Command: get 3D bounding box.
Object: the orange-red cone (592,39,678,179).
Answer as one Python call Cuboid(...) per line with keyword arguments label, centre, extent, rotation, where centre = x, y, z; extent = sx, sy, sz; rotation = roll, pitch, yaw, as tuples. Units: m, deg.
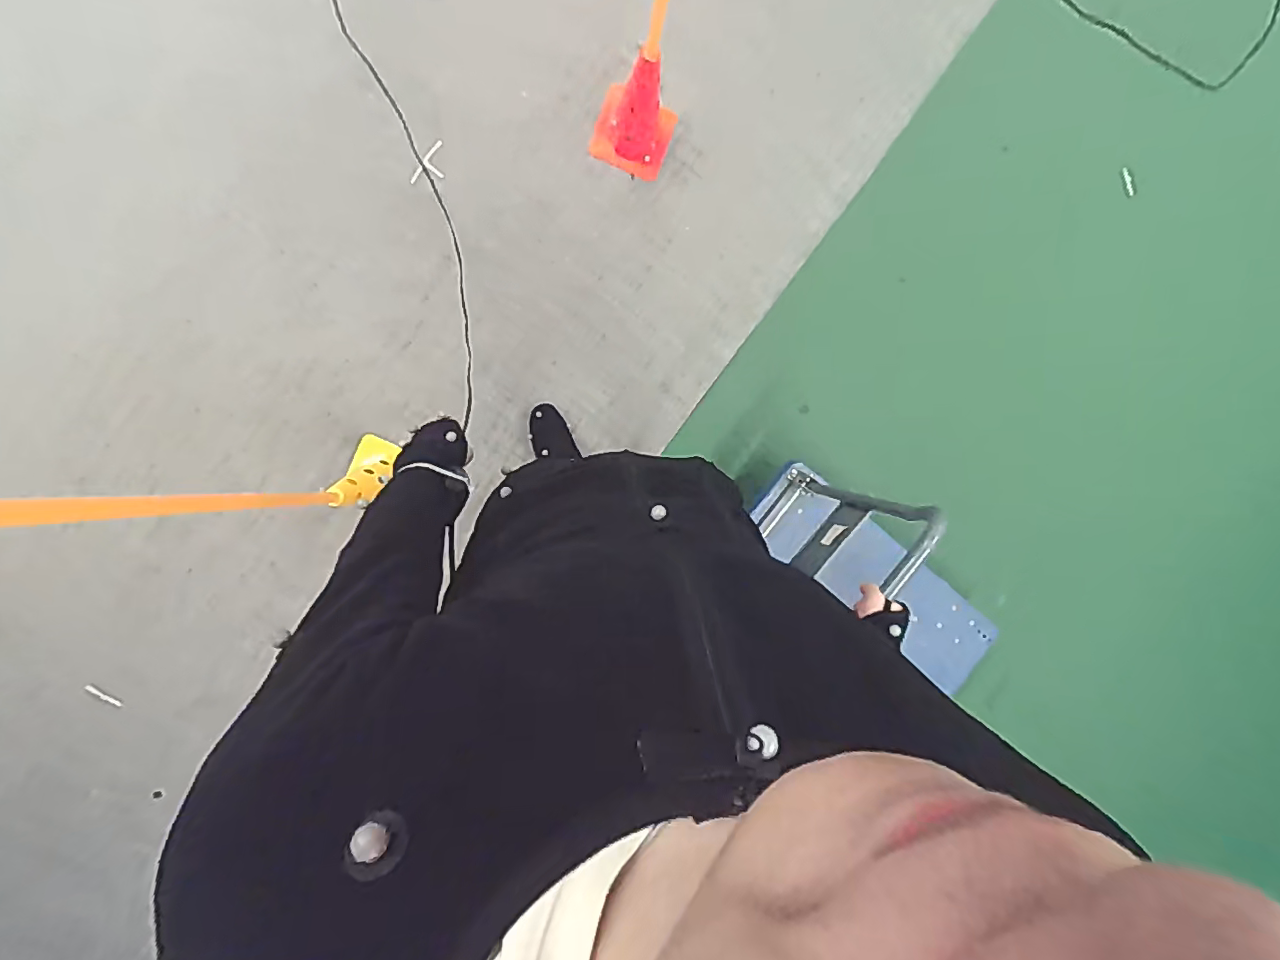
Cuboid(label="orange-red cone", centre=(0.010, -0.939, 1.318), extent=(0.198, 0.360, 0.199), rotation=(21, 93, -10))
